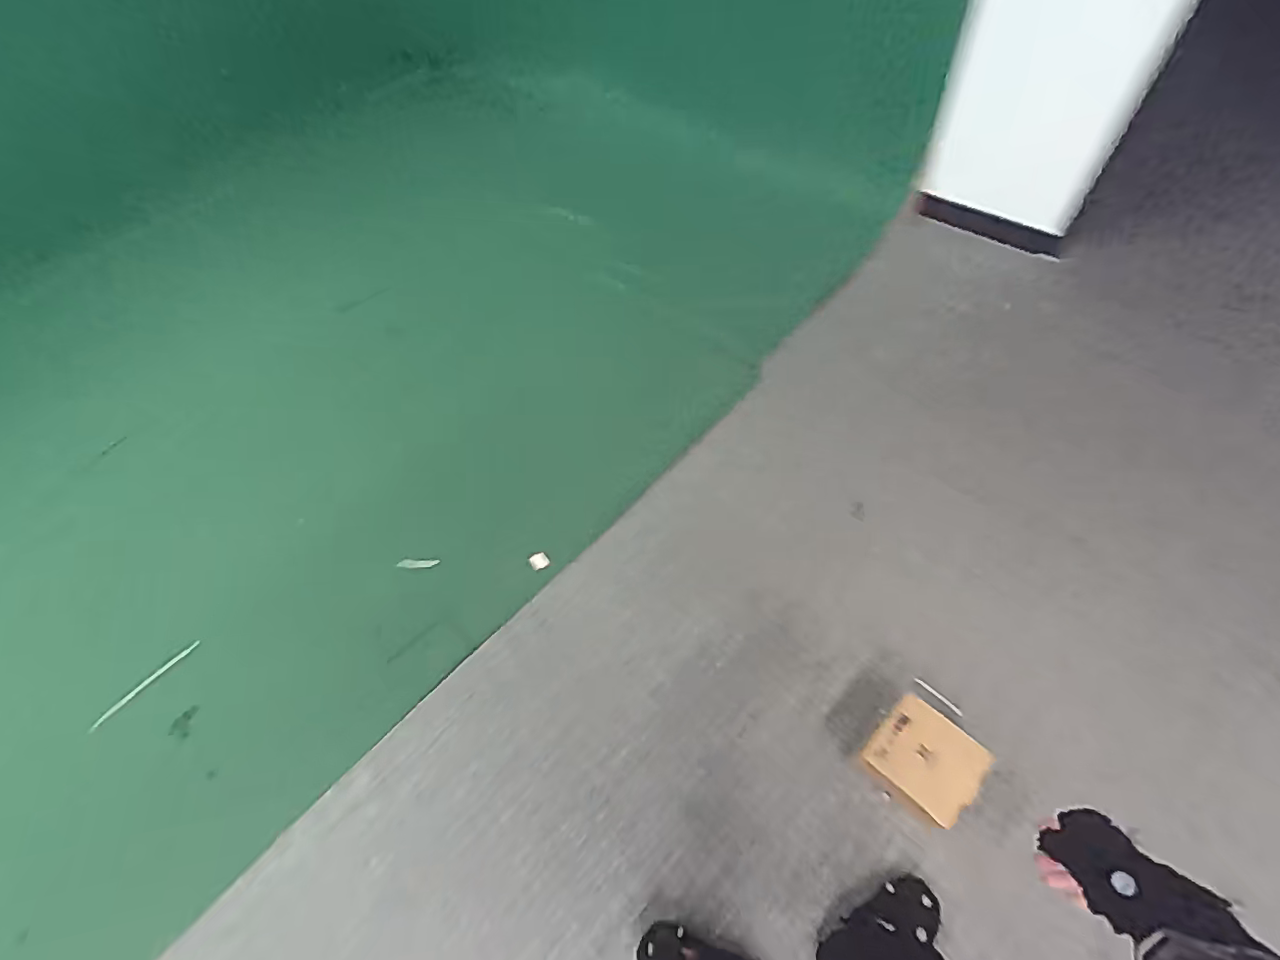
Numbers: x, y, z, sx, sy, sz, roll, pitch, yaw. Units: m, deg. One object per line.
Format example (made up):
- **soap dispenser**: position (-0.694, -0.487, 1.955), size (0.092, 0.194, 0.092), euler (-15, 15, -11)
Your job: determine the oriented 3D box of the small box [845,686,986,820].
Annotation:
- **small box**: position (0.549, 0.552, 1.104), size (0.168, 0.176, 0.179), euler (-43, 63, -14)
